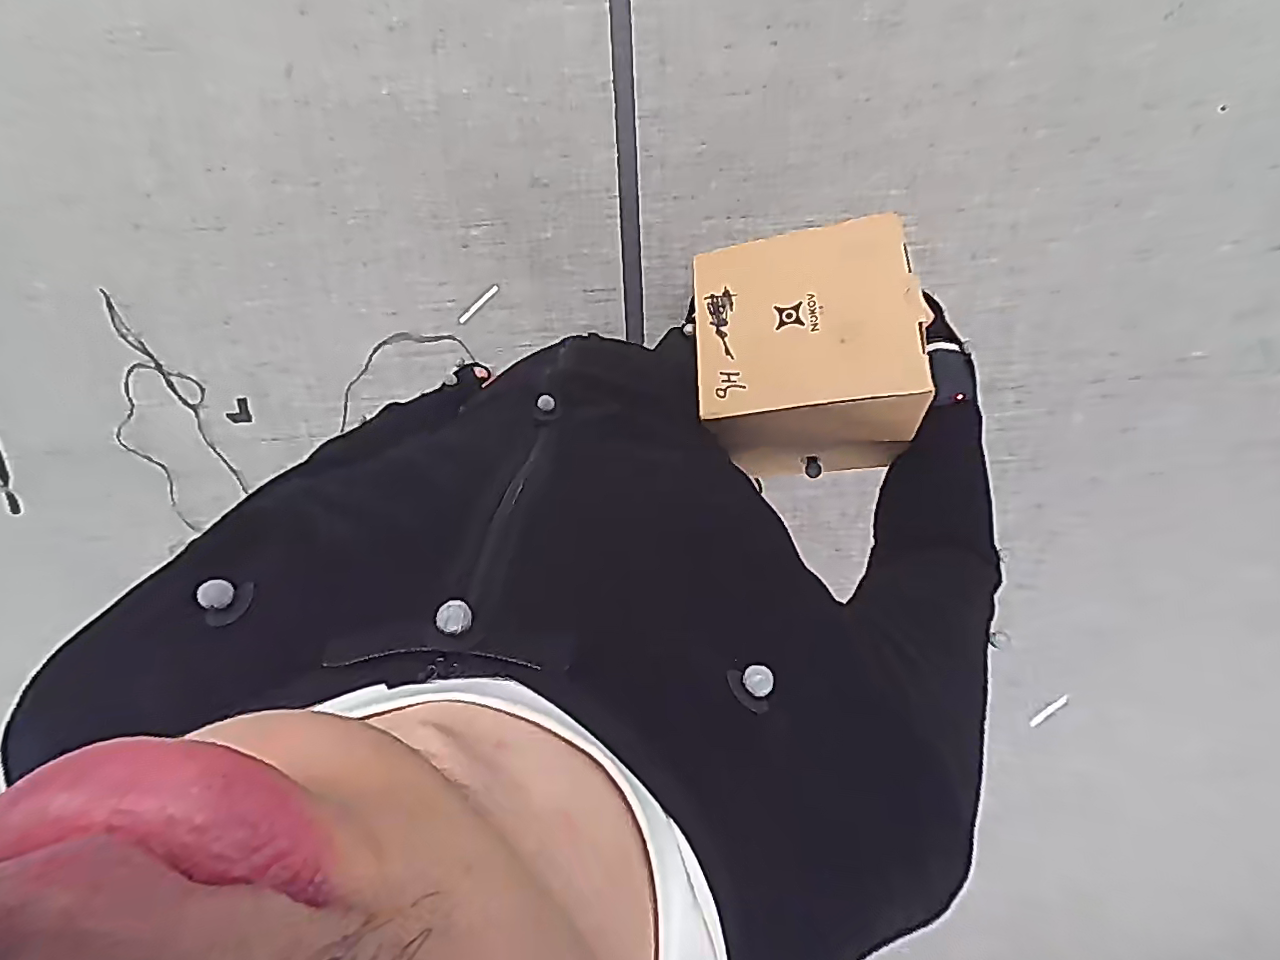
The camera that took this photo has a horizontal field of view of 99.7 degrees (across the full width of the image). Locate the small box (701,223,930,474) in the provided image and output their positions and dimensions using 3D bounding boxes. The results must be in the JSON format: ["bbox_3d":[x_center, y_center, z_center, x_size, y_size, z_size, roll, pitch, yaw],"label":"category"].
[{"bbox_3d":[0.161,-0.112,0.531,0.179,0.176,0.168,-5,70,15],"label":"small box"}]
